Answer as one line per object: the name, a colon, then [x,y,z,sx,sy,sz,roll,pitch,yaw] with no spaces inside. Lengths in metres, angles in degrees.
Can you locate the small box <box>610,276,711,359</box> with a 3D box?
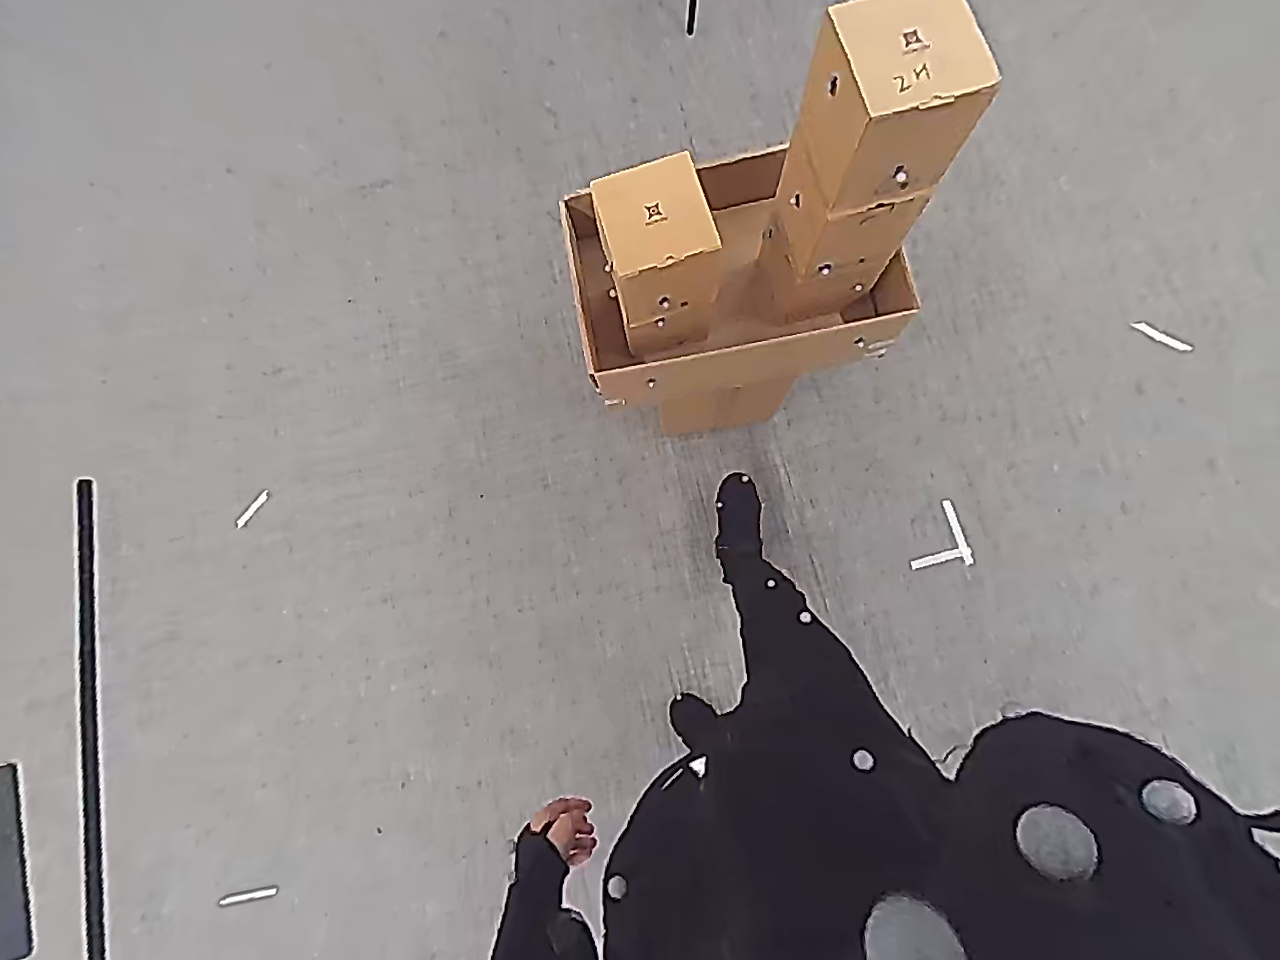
small box: [0.034,-0.365,1.060,0.168,0.176,0.179,-15,79,2]

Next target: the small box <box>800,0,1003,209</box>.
small box: [0.333,-0.510,0.729,0.168,0.176,0.179,-15,80,1]

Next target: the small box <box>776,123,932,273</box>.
small box: [0.337,-0.466,0.889,0.168,0.176,0.179,-14,79,1]

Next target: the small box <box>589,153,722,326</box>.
small box: [0.025,-0.388,0.899,0.168,0.176,0.179,-18,81,1]
